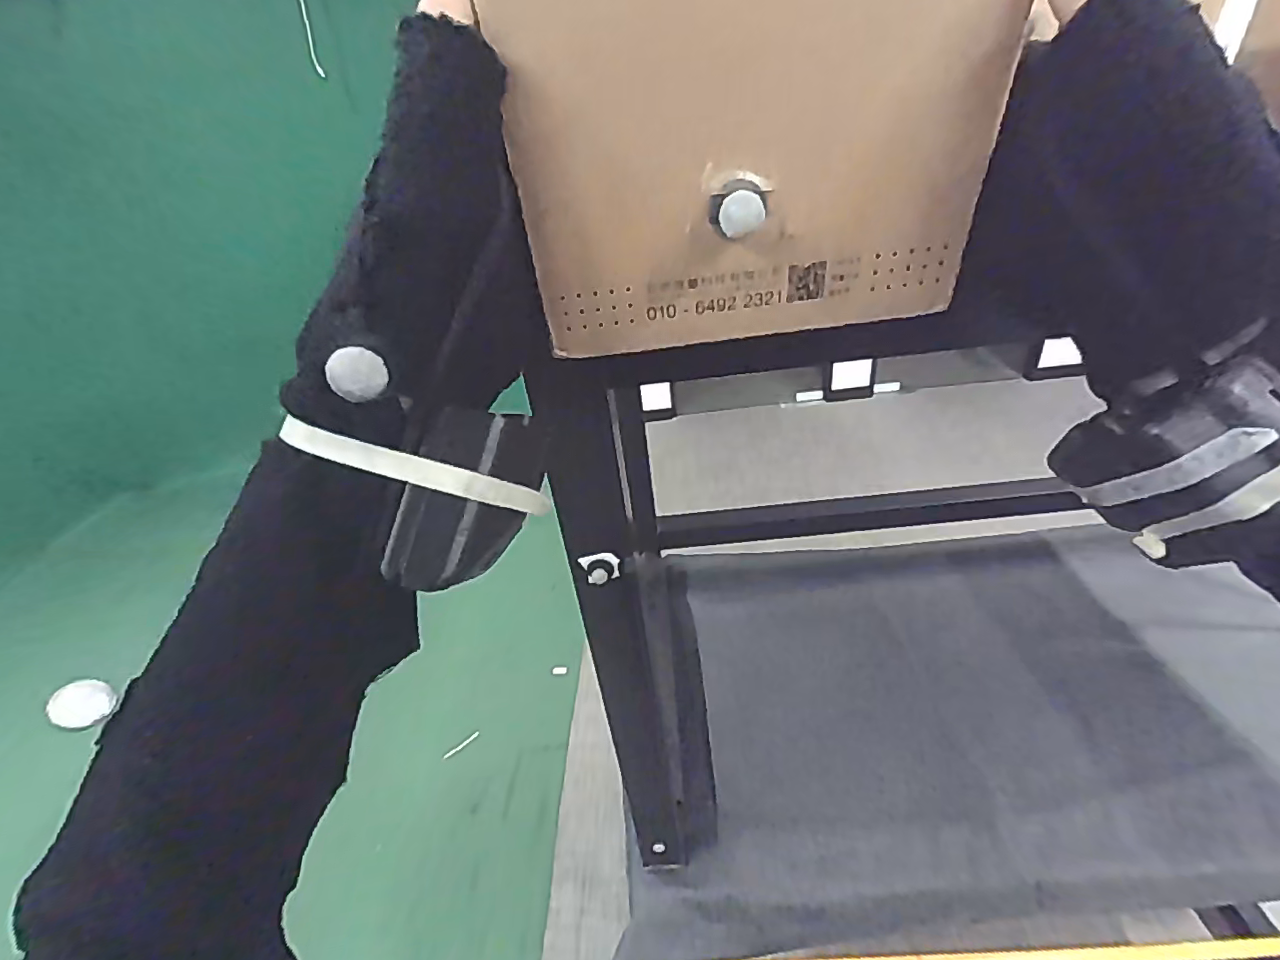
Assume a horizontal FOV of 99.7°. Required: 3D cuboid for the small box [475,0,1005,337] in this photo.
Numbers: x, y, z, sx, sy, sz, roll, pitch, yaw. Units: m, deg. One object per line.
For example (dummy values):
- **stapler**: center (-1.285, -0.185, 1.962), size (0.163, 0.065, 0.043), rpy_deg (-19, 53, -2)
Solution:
- **small box**: center (0.028, -0.181, 0.236), size (0.168, 0.176, 0.179), rpy_deg (-7, 41, 2)
